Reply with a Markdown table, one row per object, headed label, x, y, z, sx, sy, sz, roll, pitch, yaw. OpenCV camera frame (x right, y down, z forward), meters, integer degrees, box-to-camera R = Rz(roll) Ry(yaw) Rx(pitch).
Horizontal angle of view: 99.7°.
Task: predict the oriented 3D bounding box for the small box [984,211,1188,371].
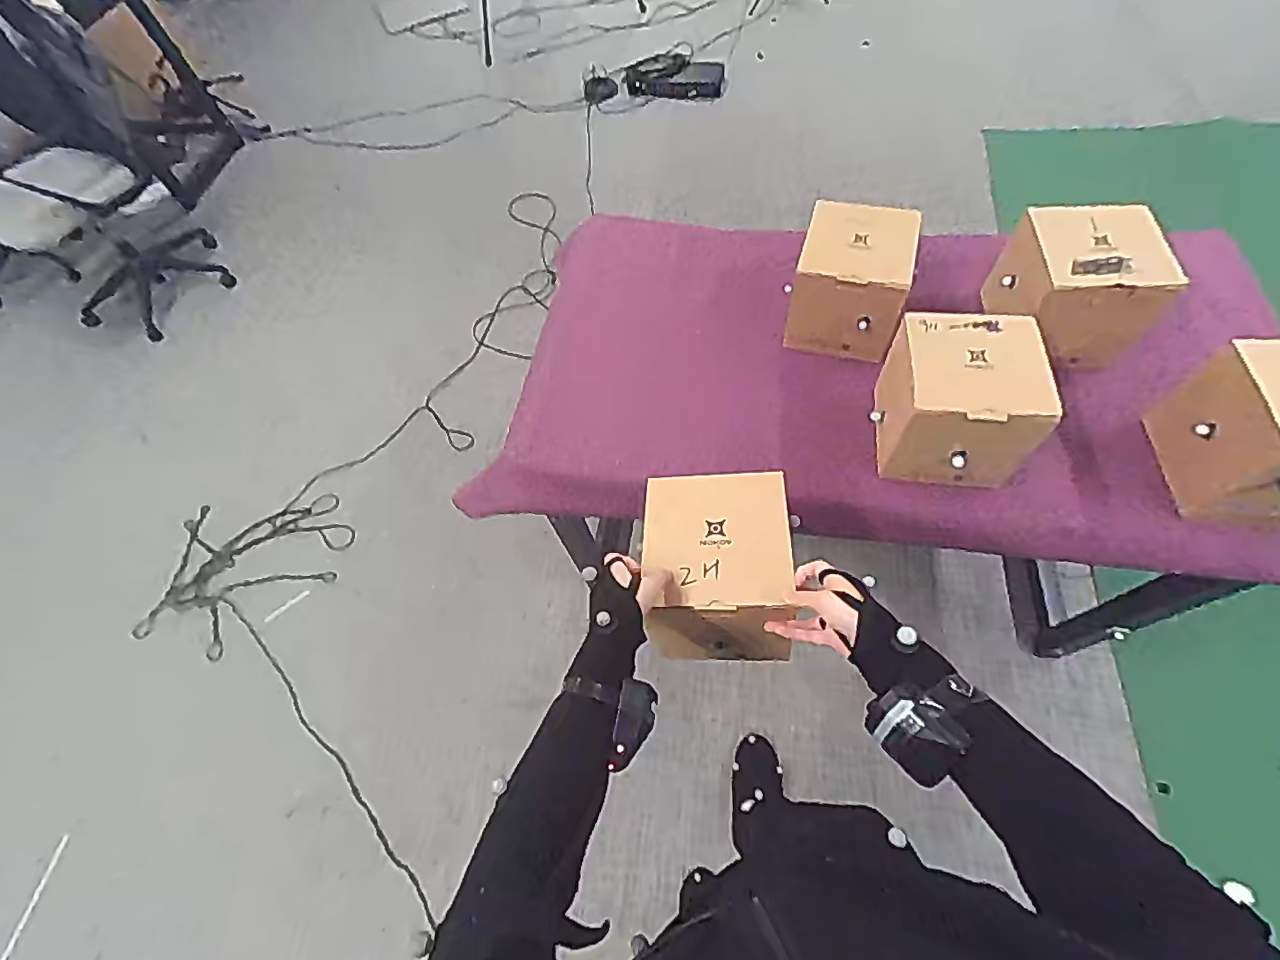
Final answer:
| label | x | y | z | sx | sy | sz | roll | pitch | yaw |
| --- | --- | --- | --- | --- | --- | --- | --- | --- | --- |
| small box | 0.668 | -0.287 | 0.838 | 0.168 | 0.176 | 0.179 | 4 | 59 | 9 |

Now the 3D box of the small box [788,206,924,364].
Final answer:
| label | x | y | z | sx | sy | sz | roll | pitch | yaw |
| --- | --- | --- | --- | --- | --- | --- | --- | --- | --- |
| small box | 0.350 | -0.319 | 0.899 | 0.168 | 0.176 | 0.179 | 14 | 63 | 14 |

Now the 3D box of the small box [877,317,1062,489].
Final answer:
| label | x | y | z | sx | sy | sz | roll | pitch | yaw |
| --- | --- | --- | --- | --- | --- | --- | --- | --- | --- |
| small box | 0.442 | -0.103 | 0.759 | 0.168 | 0.176 | 0.179 | 6 | 60 | 10 |

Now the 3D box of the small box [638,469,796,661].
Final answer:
| label | x | y | z | sx | sy | sz | roll | pitch | yaw |
| --- | --- | --- | --- | --- | --- | --- | --- | --- | --- |
| small box | 0.098 | 0.106 | 0.668 | 0.168 | 0.176 | 0.179 | -3 | 53 | 11 |
